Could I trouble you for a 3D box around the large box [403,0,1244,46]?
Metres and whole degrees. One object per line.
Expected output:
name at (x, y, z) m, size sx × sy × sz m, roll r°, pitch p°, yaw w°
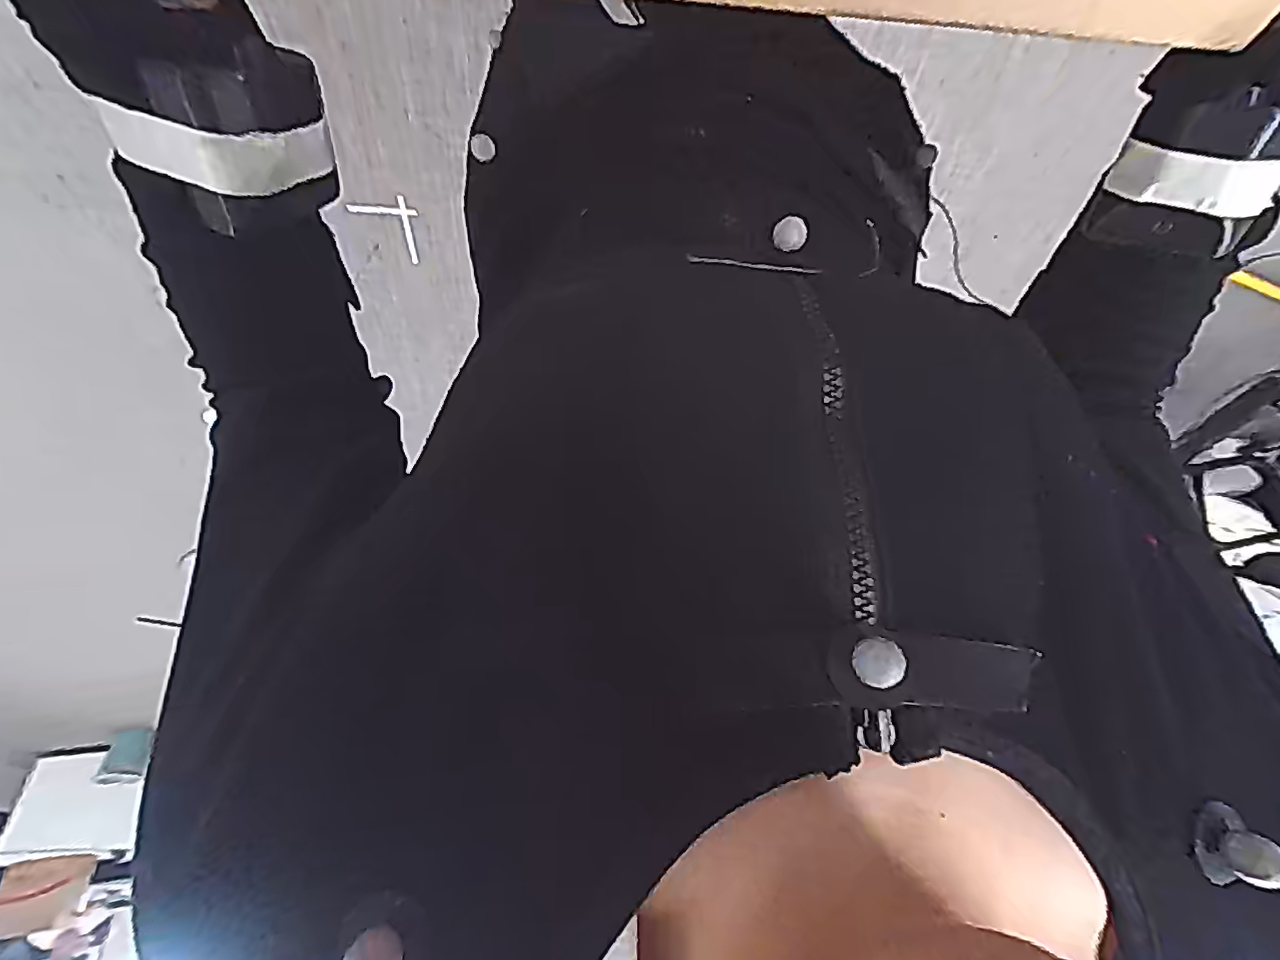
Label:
large box at (0.044, -0.390, 0.170) m, size 0.408 × 0.320 × 0.320 m, roll 0°, pitch 147°, yaw -6°
